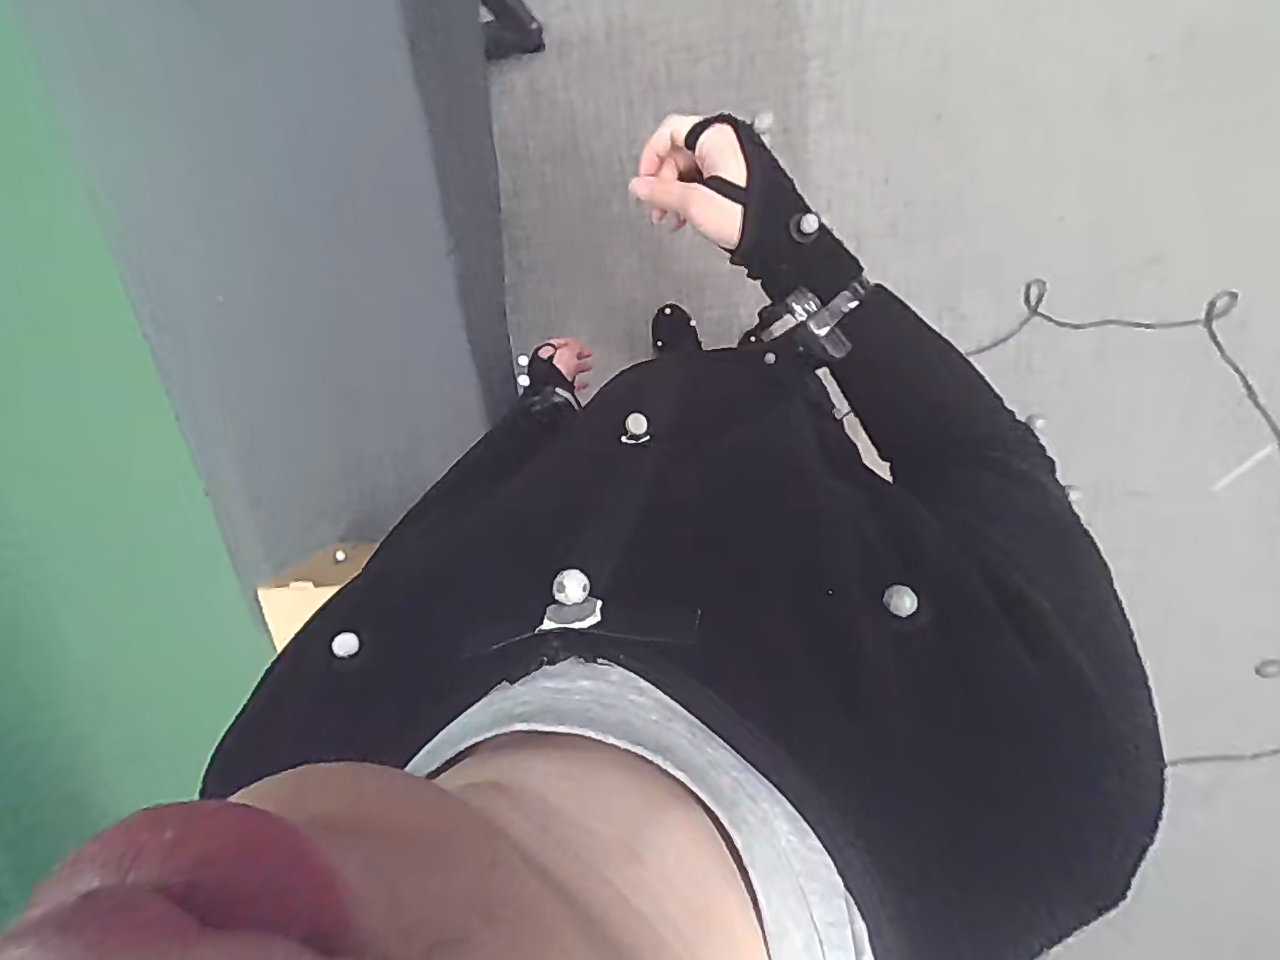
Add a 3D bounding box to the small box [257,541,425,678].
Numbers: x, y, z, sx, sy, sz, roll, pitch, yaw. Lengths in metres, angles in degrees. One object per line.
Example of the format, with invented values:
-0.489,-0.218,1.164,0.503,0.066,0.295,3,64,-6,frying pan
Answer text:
-0.499,0.212,0.928,0.168,0.176,0.179,-2,107,13,small box
